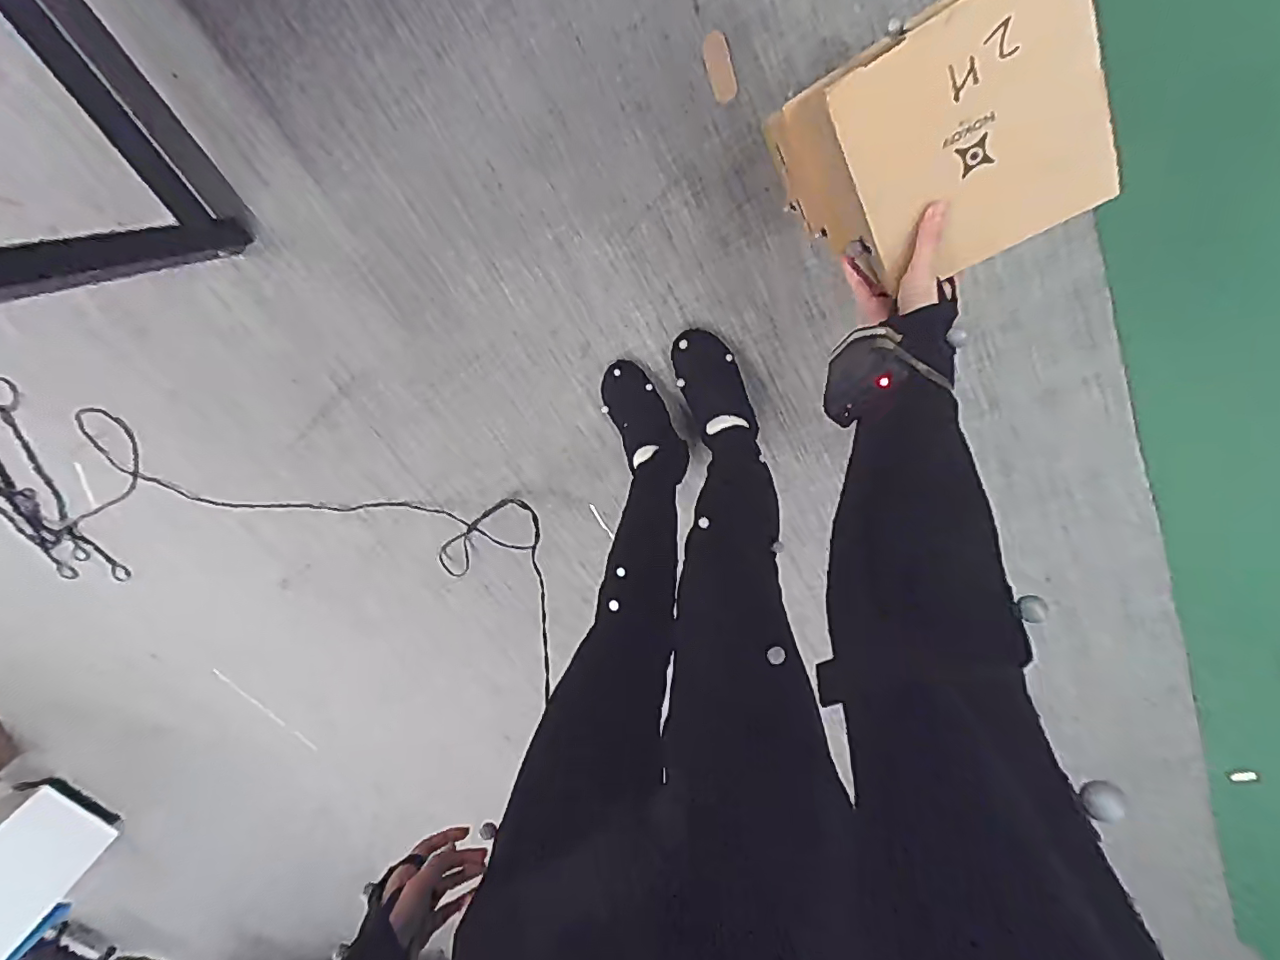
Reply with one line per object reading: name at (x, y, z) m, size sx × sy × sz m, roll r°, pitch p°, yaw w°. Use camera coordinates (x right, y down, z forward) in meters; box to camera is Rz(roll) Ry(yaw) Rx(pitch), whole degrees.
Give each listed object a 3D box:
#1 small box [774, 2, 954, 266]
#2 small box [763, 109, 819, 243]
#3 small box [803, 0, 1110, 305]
small box at (0.264, -0.374, 0.612) m, size 0.168 × 0.176 × 0.179 m, roll -24°, pitch 115°, yaw 22°
small box at (0.281, -0.455, 0.751) m, size 0.179 × 0.176 × 0.168 m, roll -21°, pitch 115°, yaw 20°
small box at (0.257, -0.287, 0.472) m, size 0.168 × 0.176 × 0.179 m, roll -23°, pitch 115°, yaw 21°
